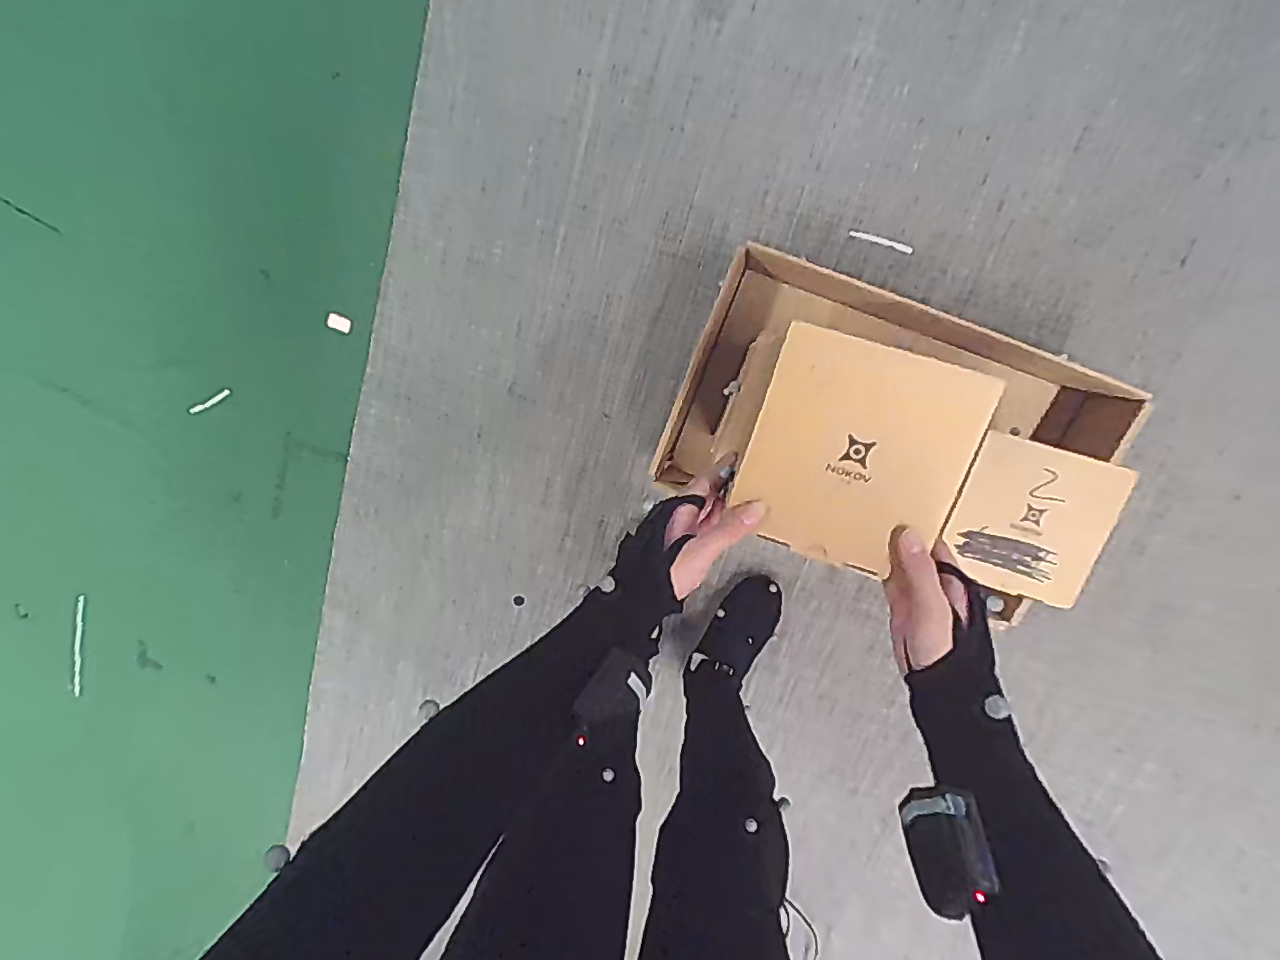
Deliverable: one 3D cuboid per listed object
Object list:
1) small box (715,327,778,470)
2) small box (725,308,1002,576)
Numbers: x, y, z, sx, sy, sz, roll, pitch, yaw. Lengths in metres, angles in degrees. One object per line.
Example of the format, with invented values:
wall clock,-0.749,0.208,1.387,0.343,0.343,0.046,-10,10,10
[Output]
small box,0.203,-0.083,0.709,0.168,0.176,0.179,20,102,6
small box,0.180,-0.041,0.501,0.168,0.176,0.179,18,103,5
